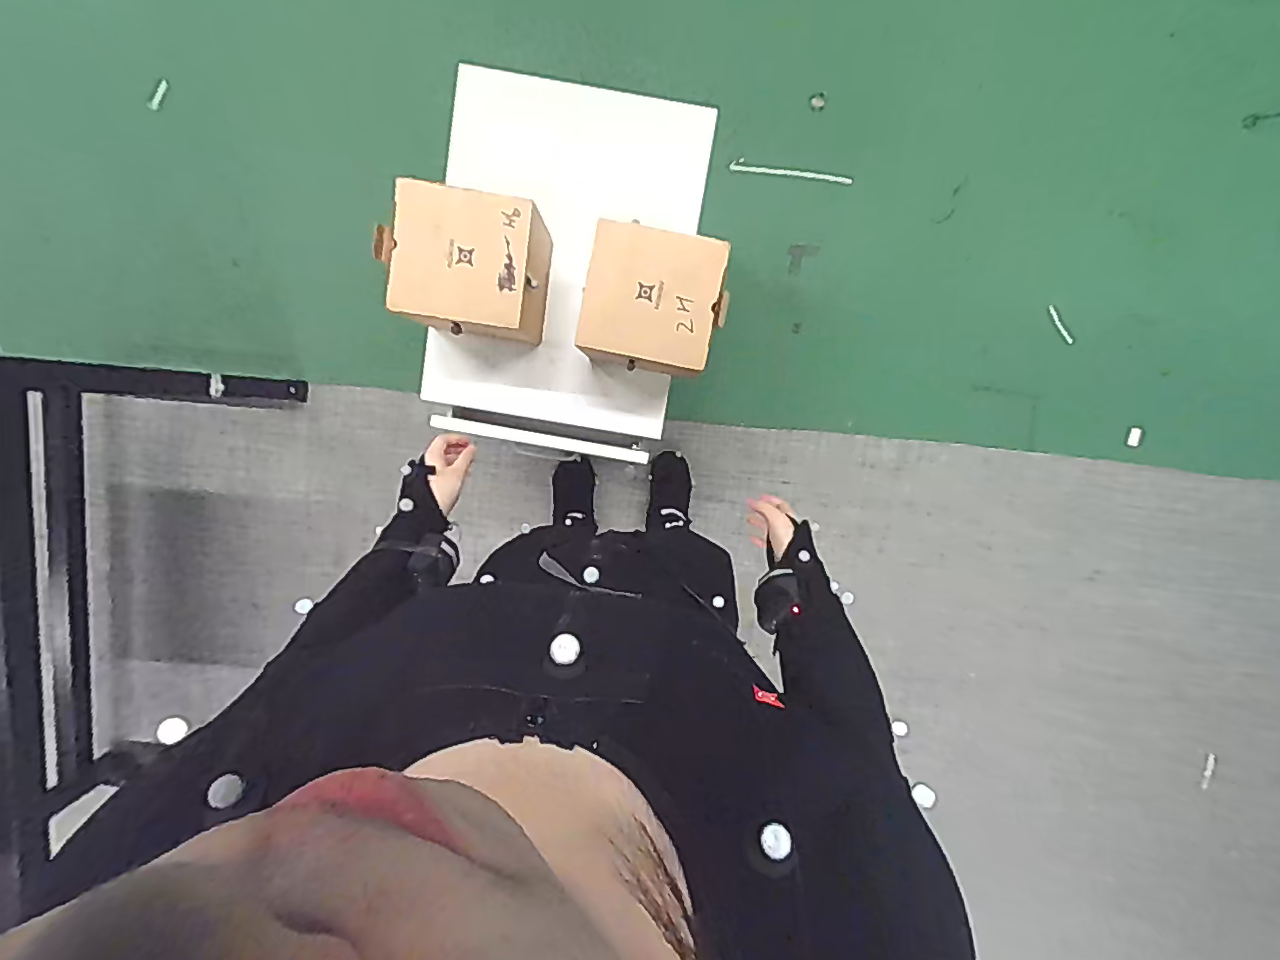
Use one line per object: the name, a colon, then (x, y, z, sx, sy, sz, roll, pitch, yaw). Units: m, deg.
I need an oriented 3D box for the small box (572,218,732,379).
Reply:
small box: (0.016, -0.241, 0.762, 0.179, 0.176, 0.168, 12, 98, 0)
